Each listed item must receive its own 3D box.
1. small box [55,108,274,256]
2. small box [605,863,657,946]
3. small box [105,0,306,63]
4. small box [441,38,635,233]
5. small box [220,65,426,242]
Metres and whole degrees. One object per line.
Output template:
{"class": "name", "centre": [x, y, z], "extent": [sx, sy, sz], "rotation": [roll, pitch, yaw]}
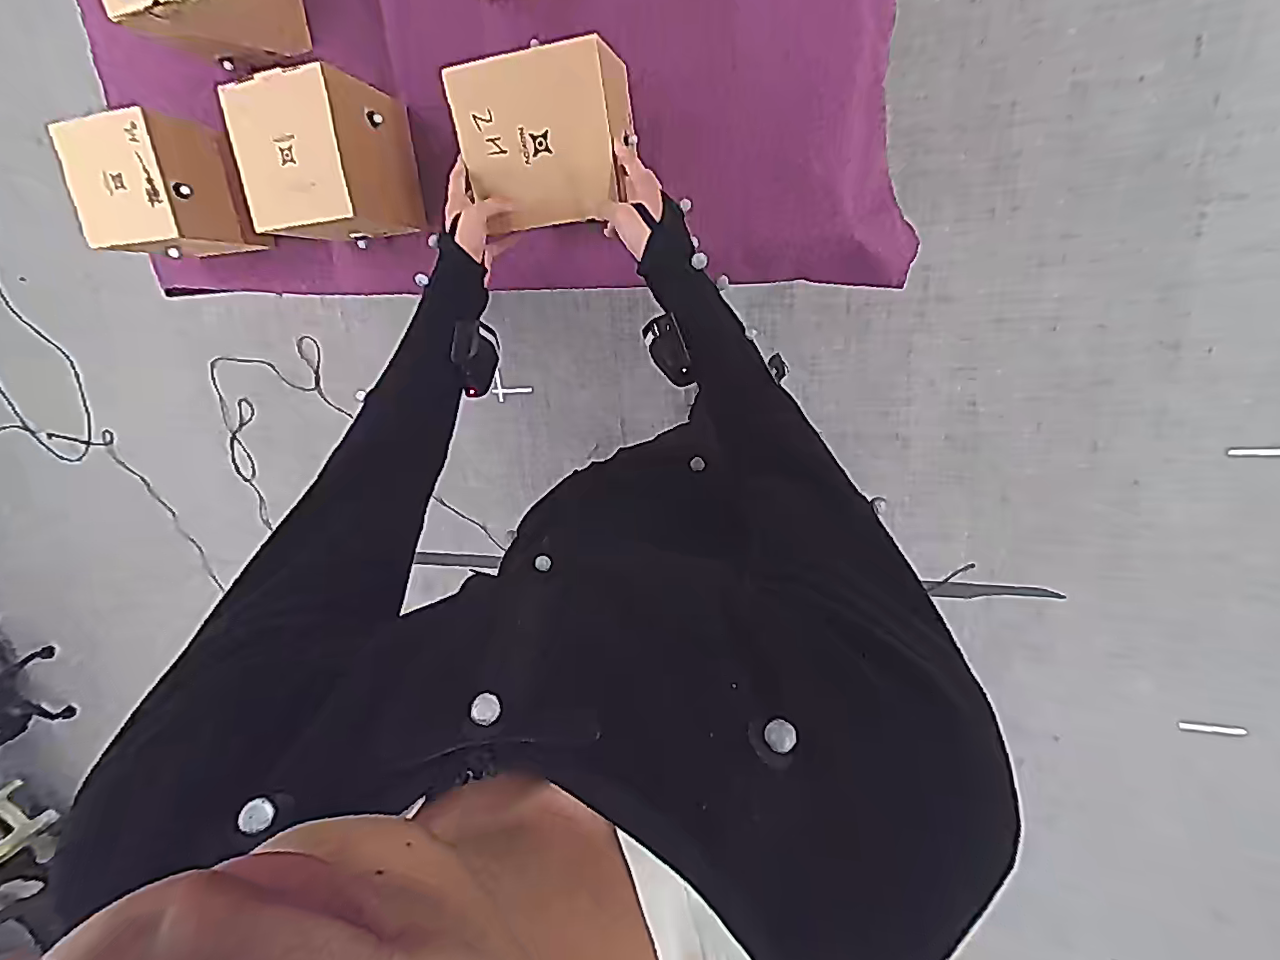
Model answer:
{"class": "small box", "centre": [-0.726, -0.449, 0.845], "extent": [0.179, 0.176, 0.168], "rotation": [1, 108, 14]}
{"class": "small box", "centre": [-0.030, 1.637, 2.090], "extent": [0.168, 0.176, 0.179], "rotation": [0, 105, 13]}
{"class": "small box", "centre": [-0.595, -0.701, 0.733], "extent": [0.168, 0.176, 0.179], "rotation": [0, 107, 14]}
{"class": "small box", "centre": [-0.106, -0.410, 0.666], "extent": [0.179, 0.176, 0.168], "rotation": [-3, 117, 12]}
{"class": "small box", "centre": [-0.438, -0.451, 0.776], "extent": [0.168, 0.176, 0.179], "rotation": [0, 109, 15]}
